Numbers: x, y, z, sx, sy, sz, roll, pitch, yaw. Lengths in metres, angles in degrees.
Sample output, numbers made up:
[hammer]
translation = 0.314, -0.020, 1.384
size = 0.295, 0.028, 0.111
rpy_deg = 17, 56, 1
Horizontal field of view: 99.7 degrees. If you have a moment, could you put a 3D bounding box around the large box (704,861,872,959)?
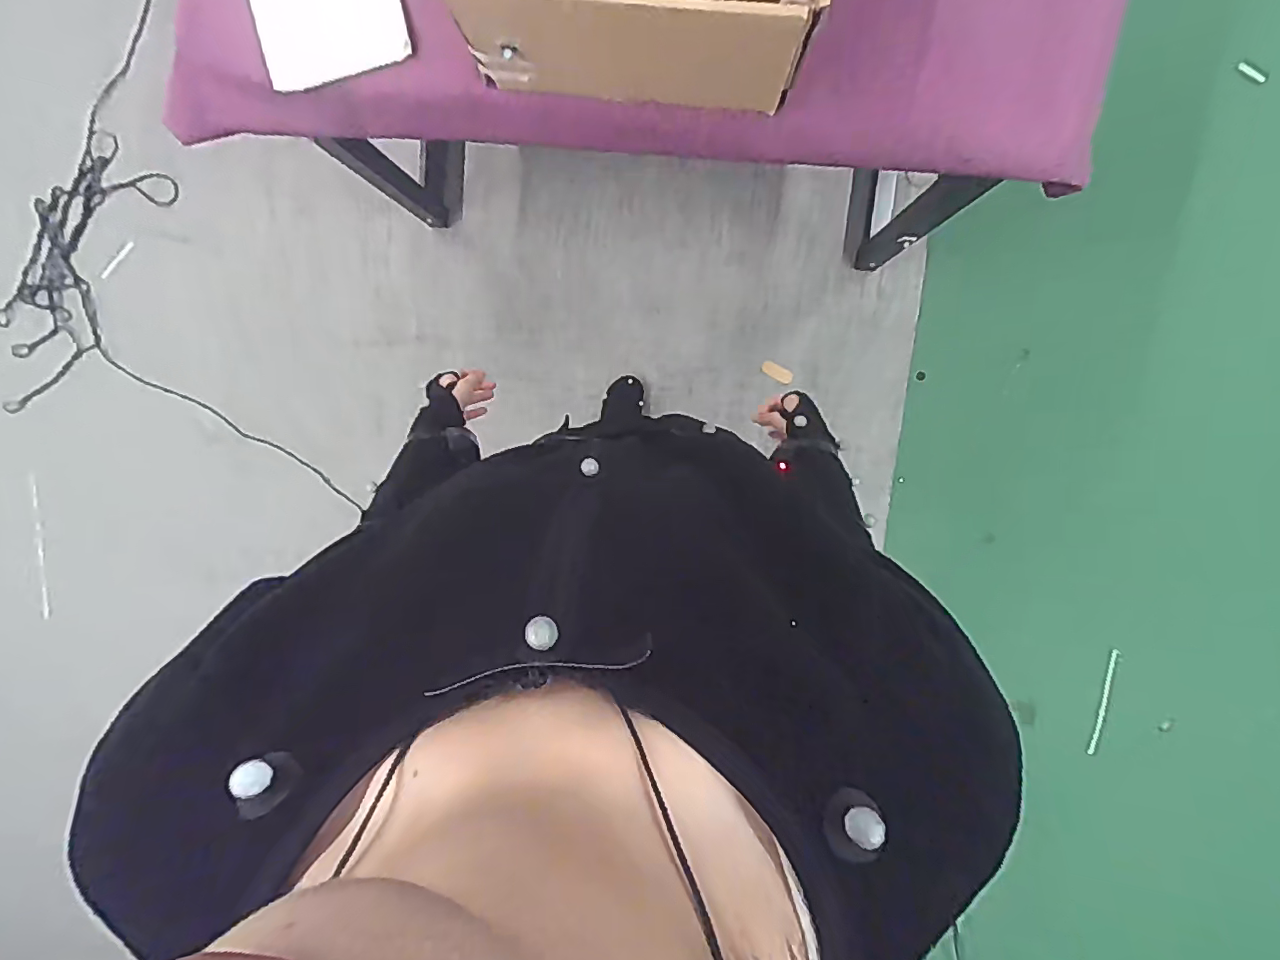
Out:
[large box]
translation = 0.409, 1.340, 1.508
size = 0.408, 0.320, 0.320
rpy_deg = -9, 98, 4
